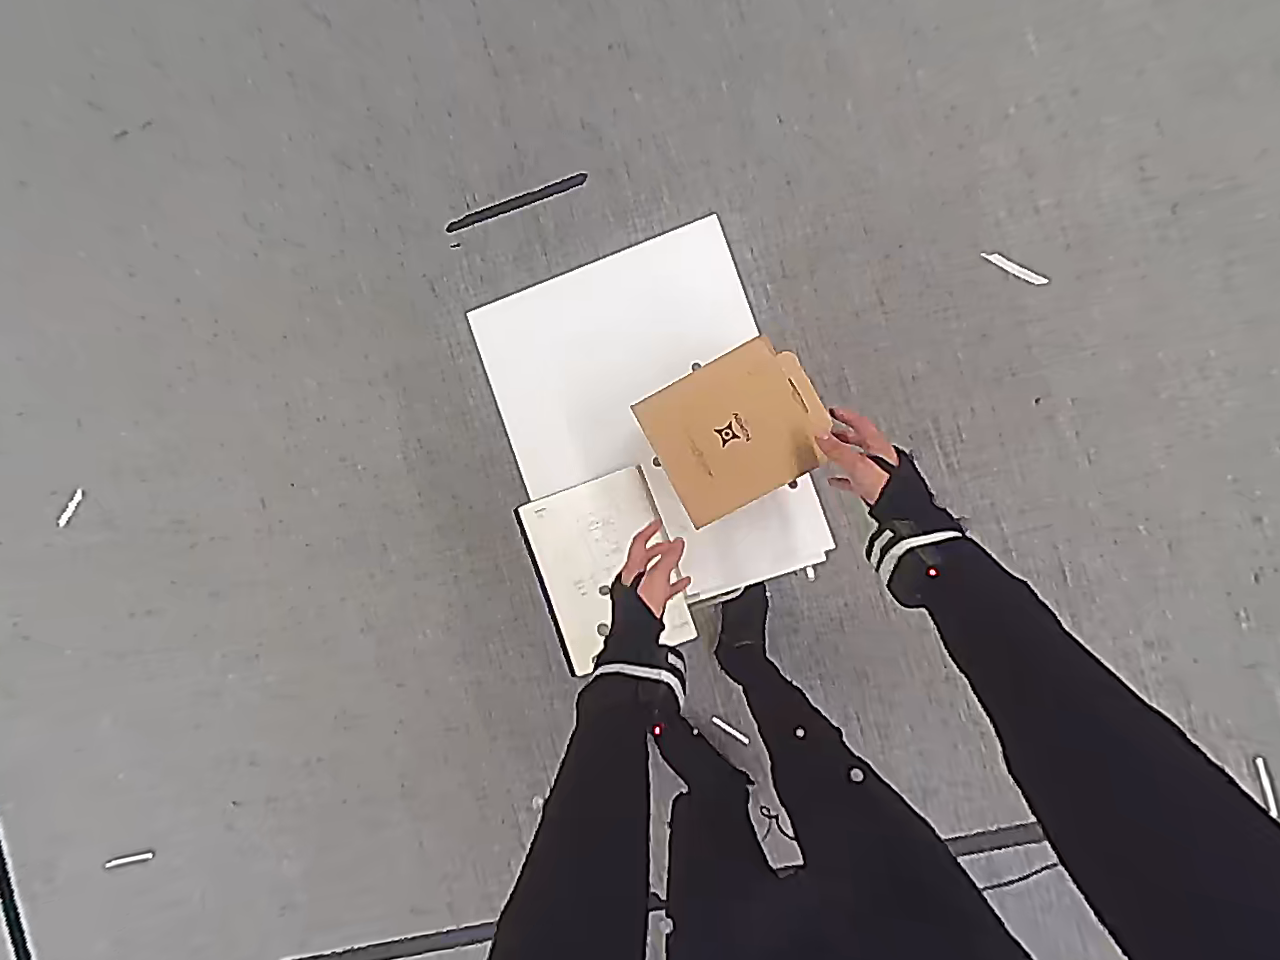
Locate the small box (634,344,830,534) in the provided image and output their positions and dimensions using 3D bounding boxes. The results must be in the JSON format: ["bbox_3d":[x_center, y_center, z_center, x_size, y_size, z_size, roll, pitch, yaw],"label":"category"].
[{"bbox_3d":[0.111,-0.048,0.697,0.179,0.176,0.168,-28,87,6],"label":"small box"}]
